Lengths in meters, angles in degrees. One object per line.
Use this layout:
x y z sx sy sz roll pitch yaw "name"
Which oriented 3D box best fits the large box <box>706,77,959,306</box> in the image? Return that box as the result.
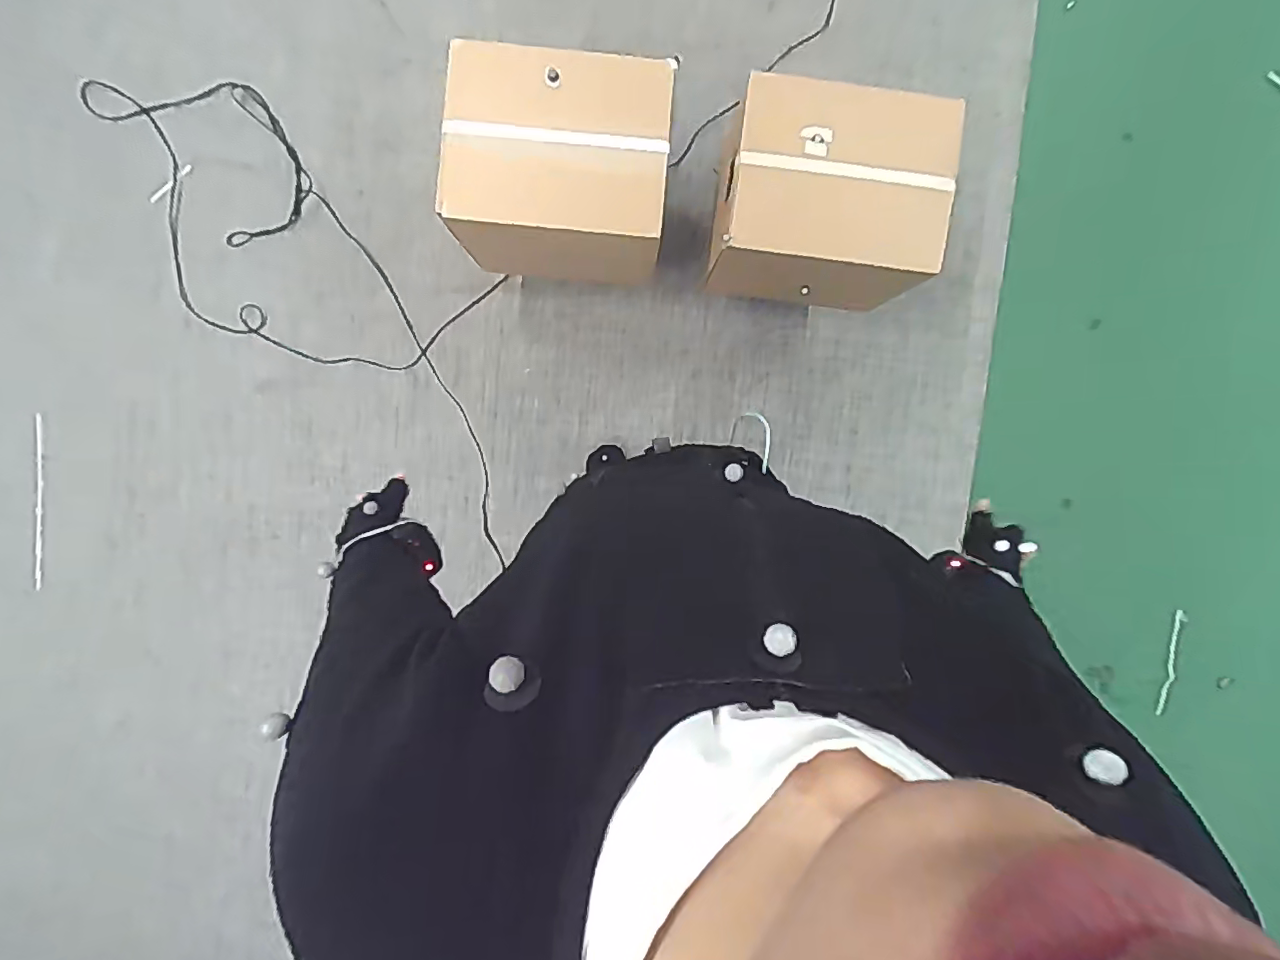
0.376 -0.578 1.151 0.408 0.320 0.320 7 94 -1 "large box"
